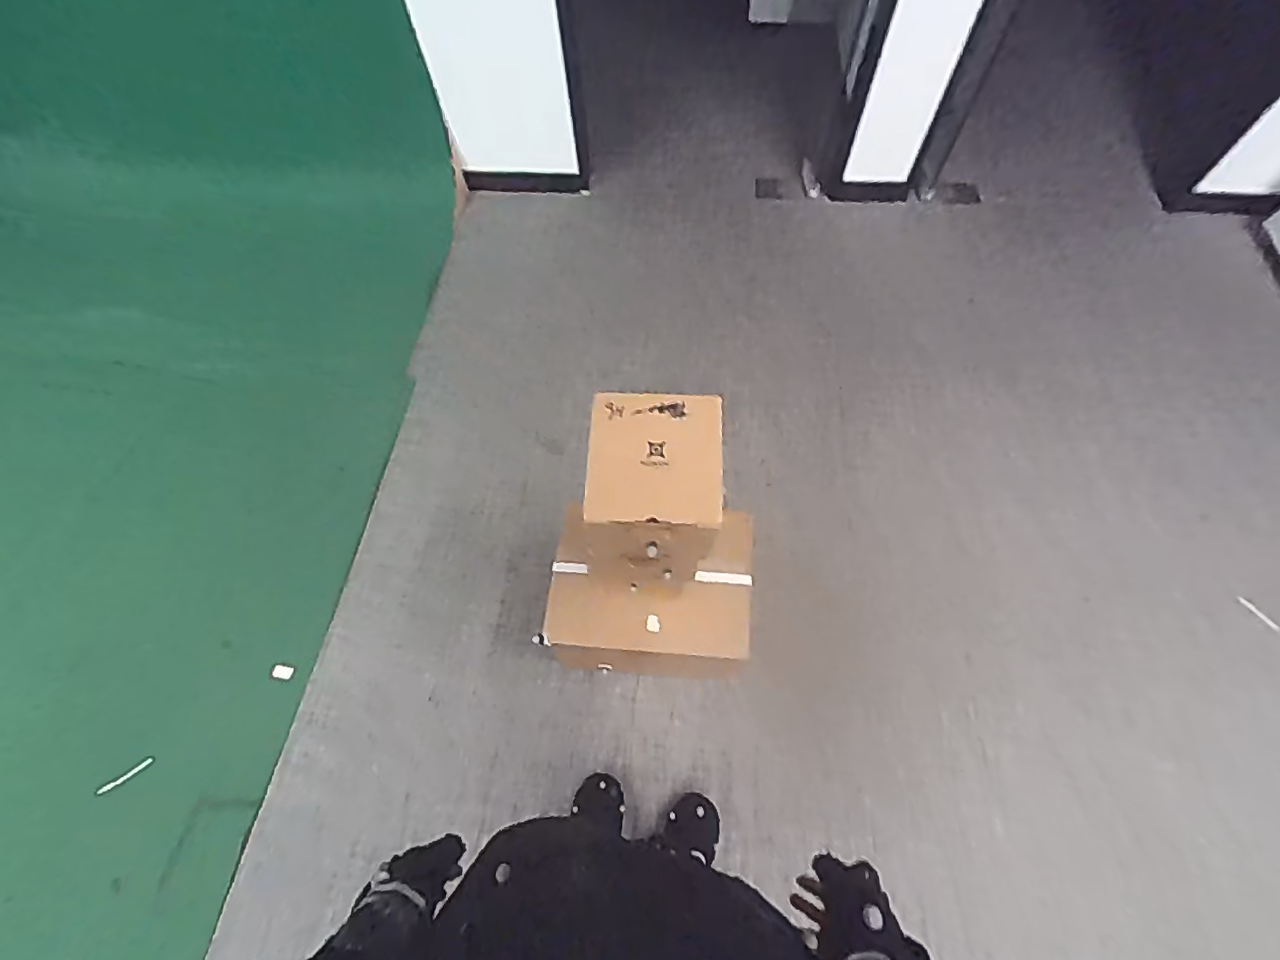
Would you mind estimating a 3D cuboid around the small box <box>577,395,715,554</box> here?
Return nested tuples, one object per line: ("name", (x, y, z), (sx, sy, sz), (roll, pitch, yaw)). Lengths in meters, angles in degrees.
("small box", (0.014, 0.001, 0.741), (0.168, 0.176, 0.179), (2, 70, 3))

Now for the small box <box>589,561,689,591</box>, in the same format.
("small box", (0.005, 0.119, 1.045), (0.179, 0.176, 0.168), (3, 70, 3))

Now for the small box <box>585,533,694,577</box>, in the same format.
("small box", (0.006, 0.059, 0.894), (0.168, 0.176, 0.179), (2, 68, 2))
